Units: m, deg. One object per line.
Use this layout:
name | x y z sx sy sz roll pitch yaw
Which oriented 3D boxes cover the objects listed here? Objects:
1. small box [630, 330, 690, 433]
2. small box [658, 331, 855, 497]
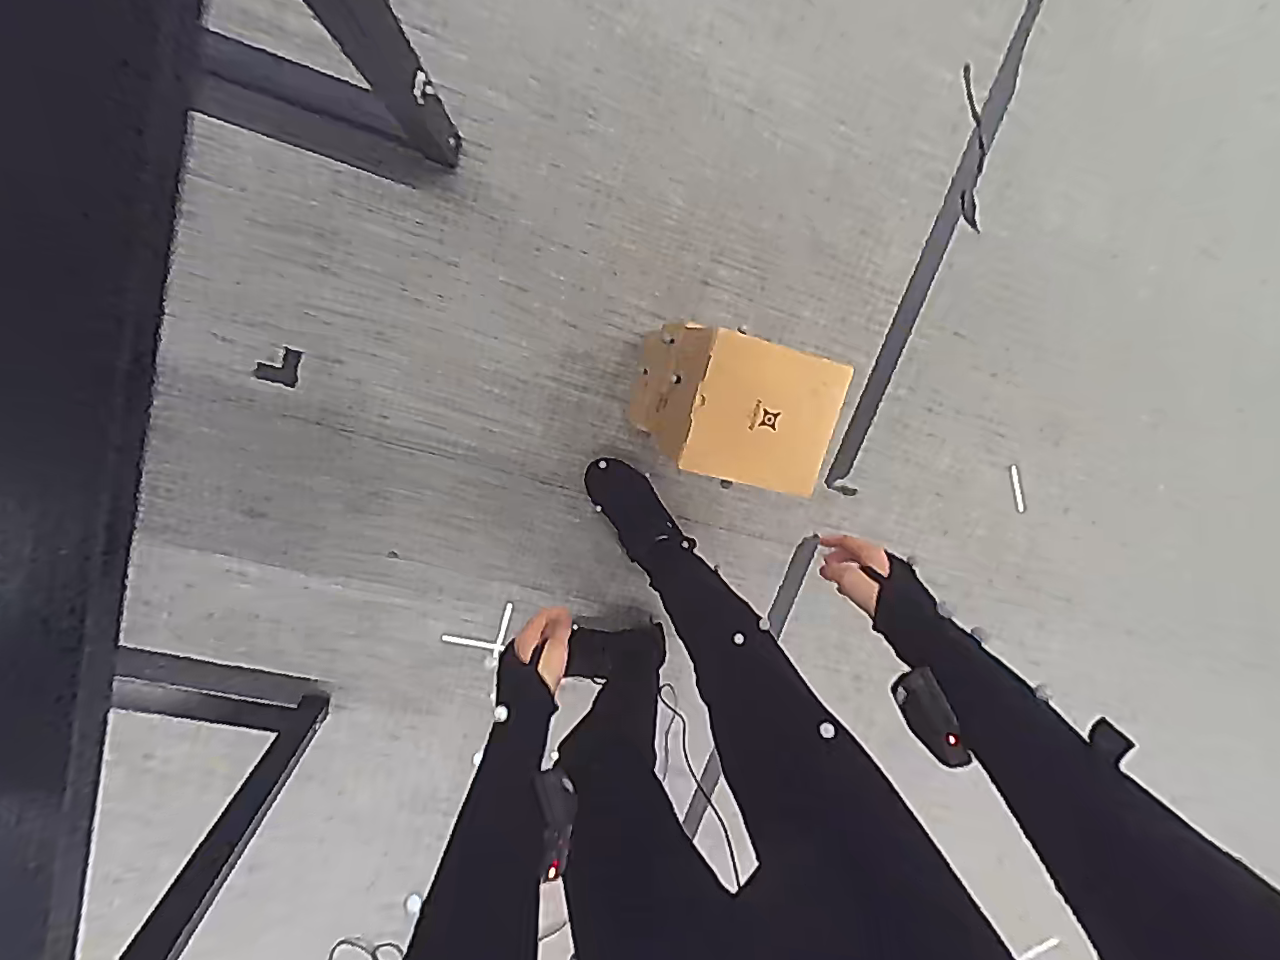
small box | 0.085 -0.172 1.016 0.168 0.176 0.179 14 103 -11
small box | 0.136 -0.093 0.702 0.179 0.176 0.168 12 102 -11
